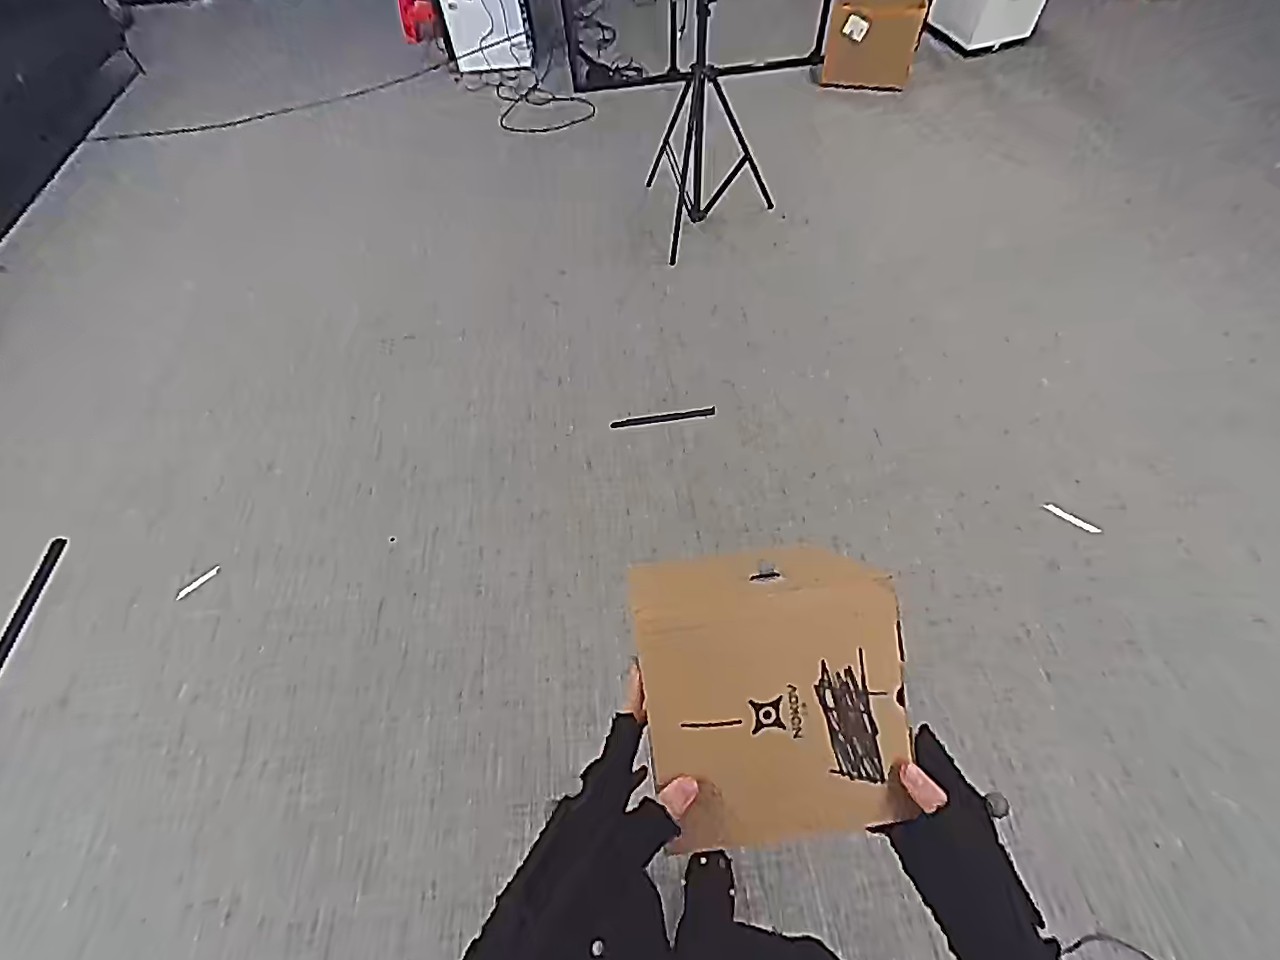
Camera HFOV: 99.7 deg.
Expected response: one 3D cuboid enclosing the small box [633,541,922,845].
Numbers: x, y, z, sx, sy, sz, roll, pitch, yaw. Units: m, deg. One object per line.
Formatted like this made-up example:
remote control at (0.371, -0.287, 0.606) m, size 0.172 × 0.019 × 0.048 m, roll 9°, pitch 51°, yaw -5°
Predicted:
small box at (0.091, 0.147, 0.434) m, size 0.179 × 0.176 × 0.168 m, roll -7°, pitch 90°, yaw -2°
